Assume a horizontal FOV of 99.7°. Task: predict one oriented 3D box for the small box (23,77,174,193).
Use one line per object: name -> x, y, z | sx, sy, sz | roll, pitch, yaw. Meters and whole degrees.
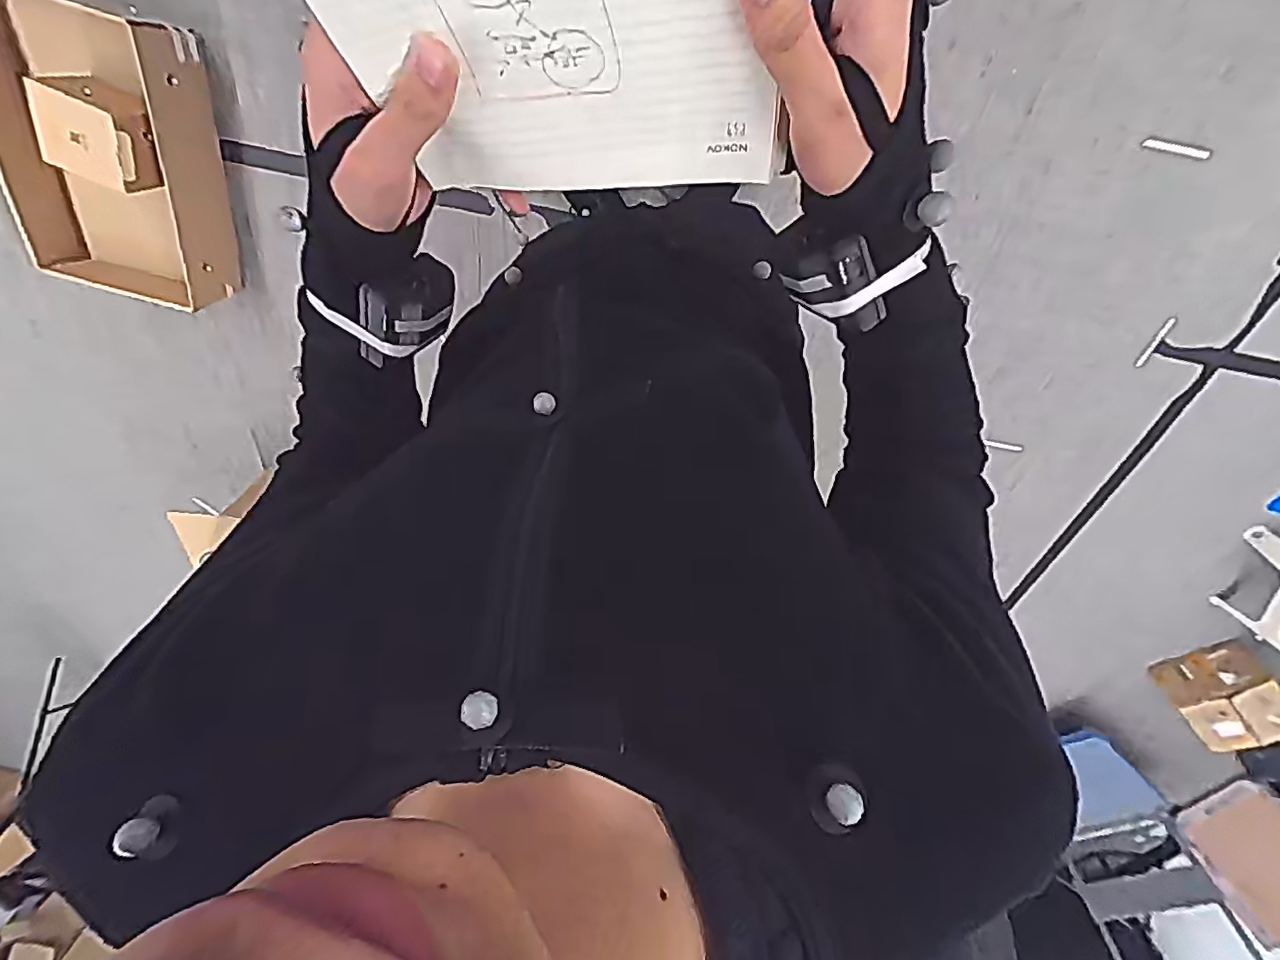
small box -> -1.207, -0.787, 1.228 | 0.179, 0.176, 0.168 | 21, 126, -11
